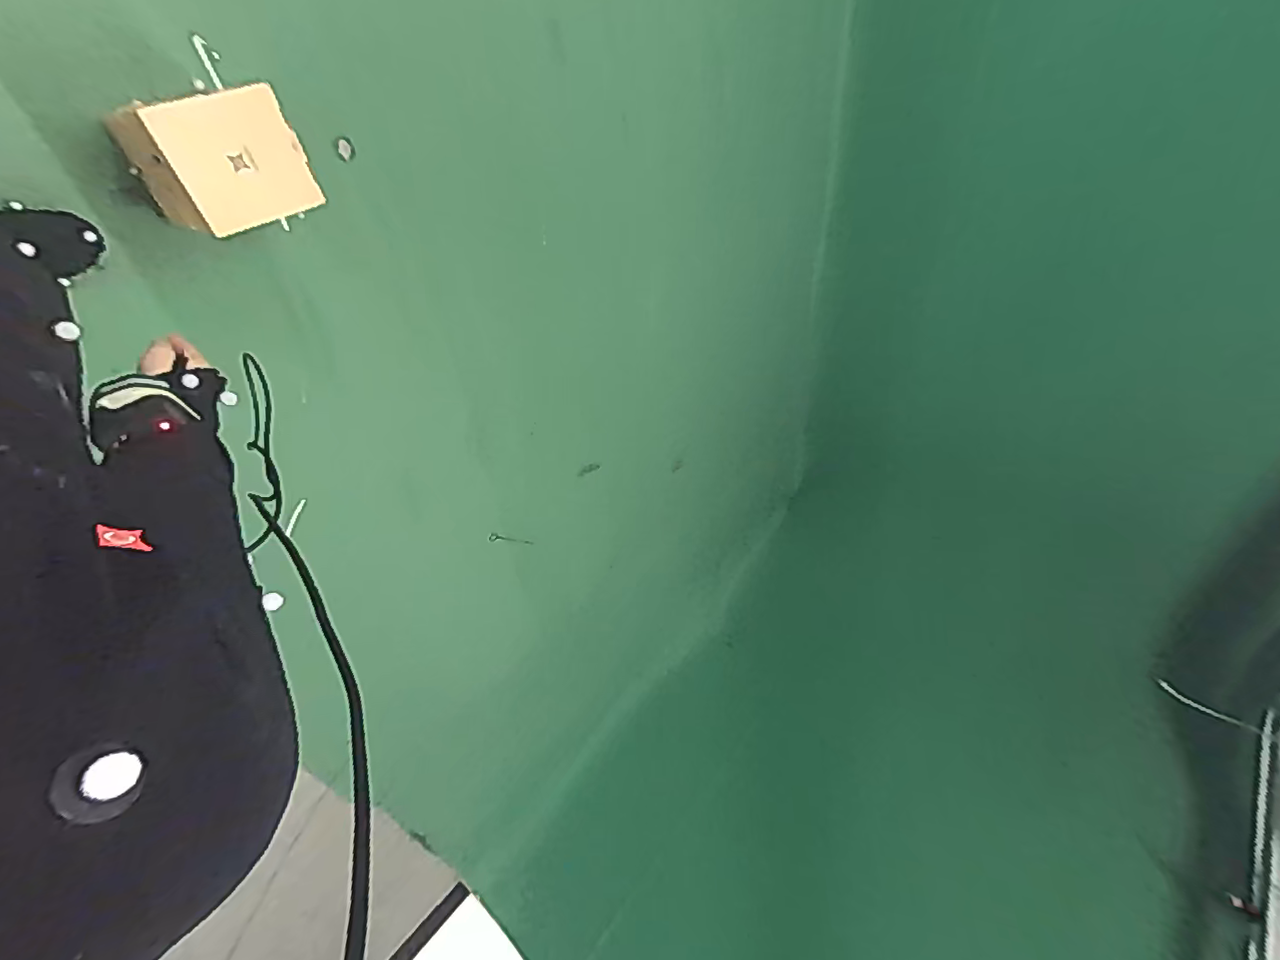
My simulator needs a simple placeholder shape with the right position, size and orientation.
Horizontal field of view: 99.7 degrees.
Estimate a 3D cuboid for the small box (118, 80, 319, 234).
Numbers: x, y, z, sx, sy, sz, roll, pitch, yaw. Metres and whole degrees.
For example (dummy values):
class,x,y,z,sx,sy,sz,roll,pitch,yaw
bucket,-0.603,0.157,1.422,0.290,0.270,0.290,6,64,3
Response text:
class,x,y,z,sx,sy,sz,roll,pitch,yaw
small box,-0.652,-0.498,0.836,0.179,0.176,0.168,-42,140,-30
